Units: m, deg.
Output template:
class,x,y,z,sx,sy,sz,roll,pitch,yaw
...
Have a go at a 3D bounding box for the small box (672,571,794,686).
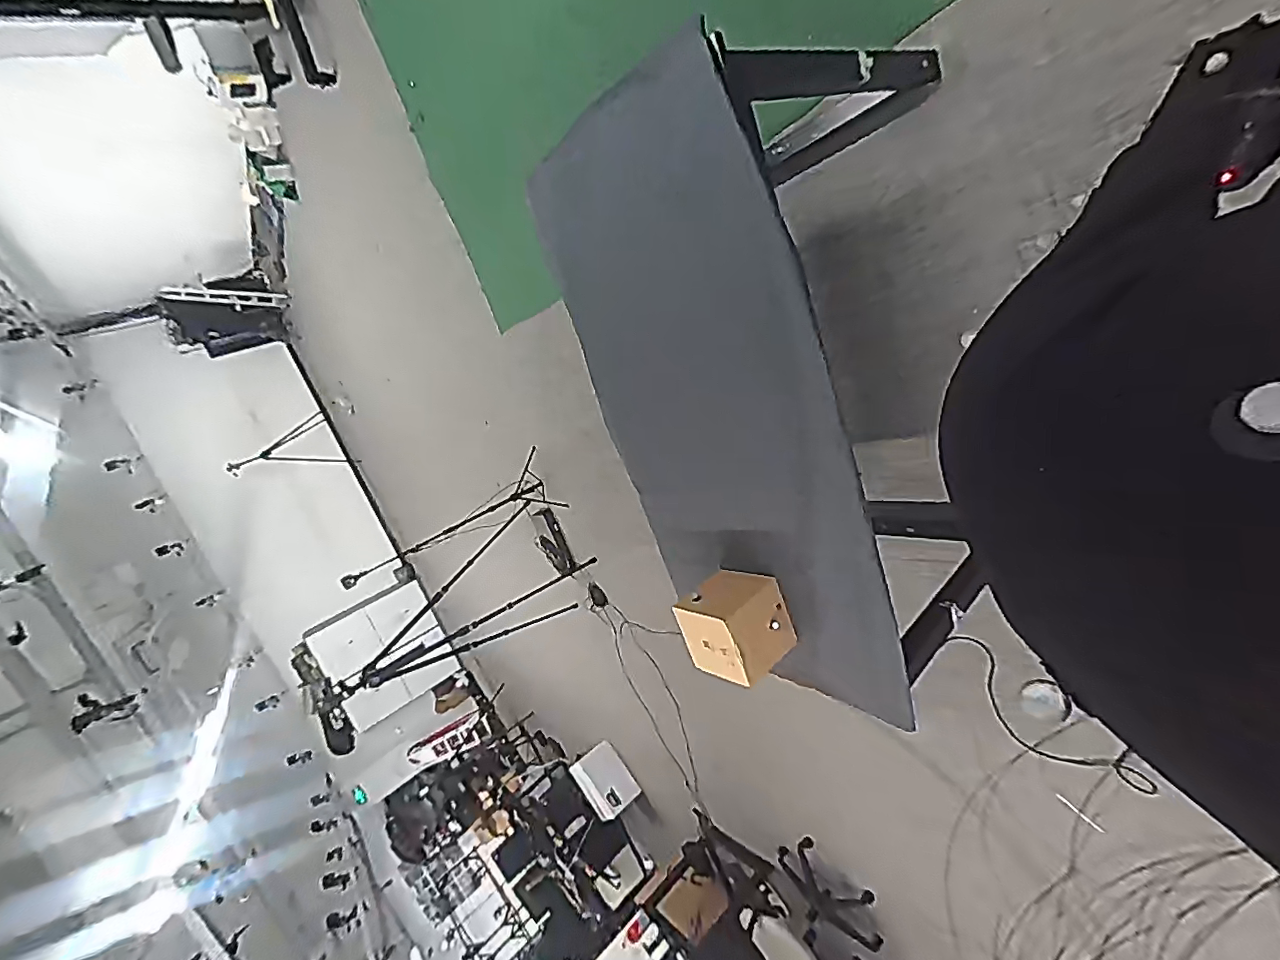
class,x,y,z,sx,sy,sz,roll,pitch,yaw
small box,0.205,0.316,1.192,0.179,0.176,0.168,-3,111,55
